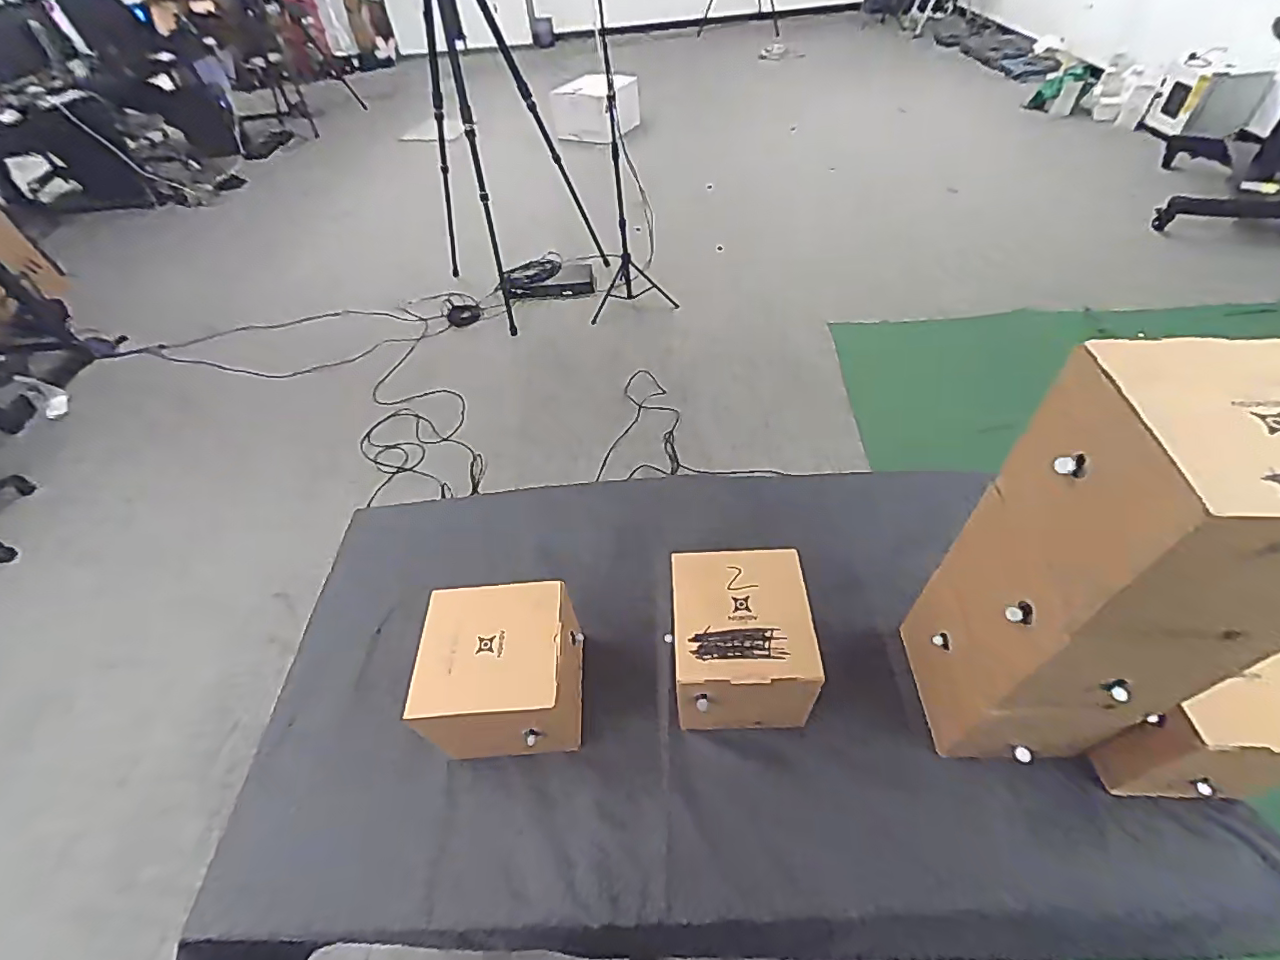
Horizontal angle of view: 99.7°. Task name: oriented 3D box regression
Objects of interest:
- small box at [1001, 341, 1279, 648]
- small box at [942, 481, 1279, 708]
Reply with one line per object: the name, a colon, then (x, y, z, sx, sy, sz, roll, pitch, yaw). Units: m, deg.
small box: (0.426, 0.010, 0.427, 0.168, 0.176, 0.179, 0, 48, 7)
small box: (0.441, 0.118, 0.550, 0.168, 0.176, 0.179, -1, 48, 5)
